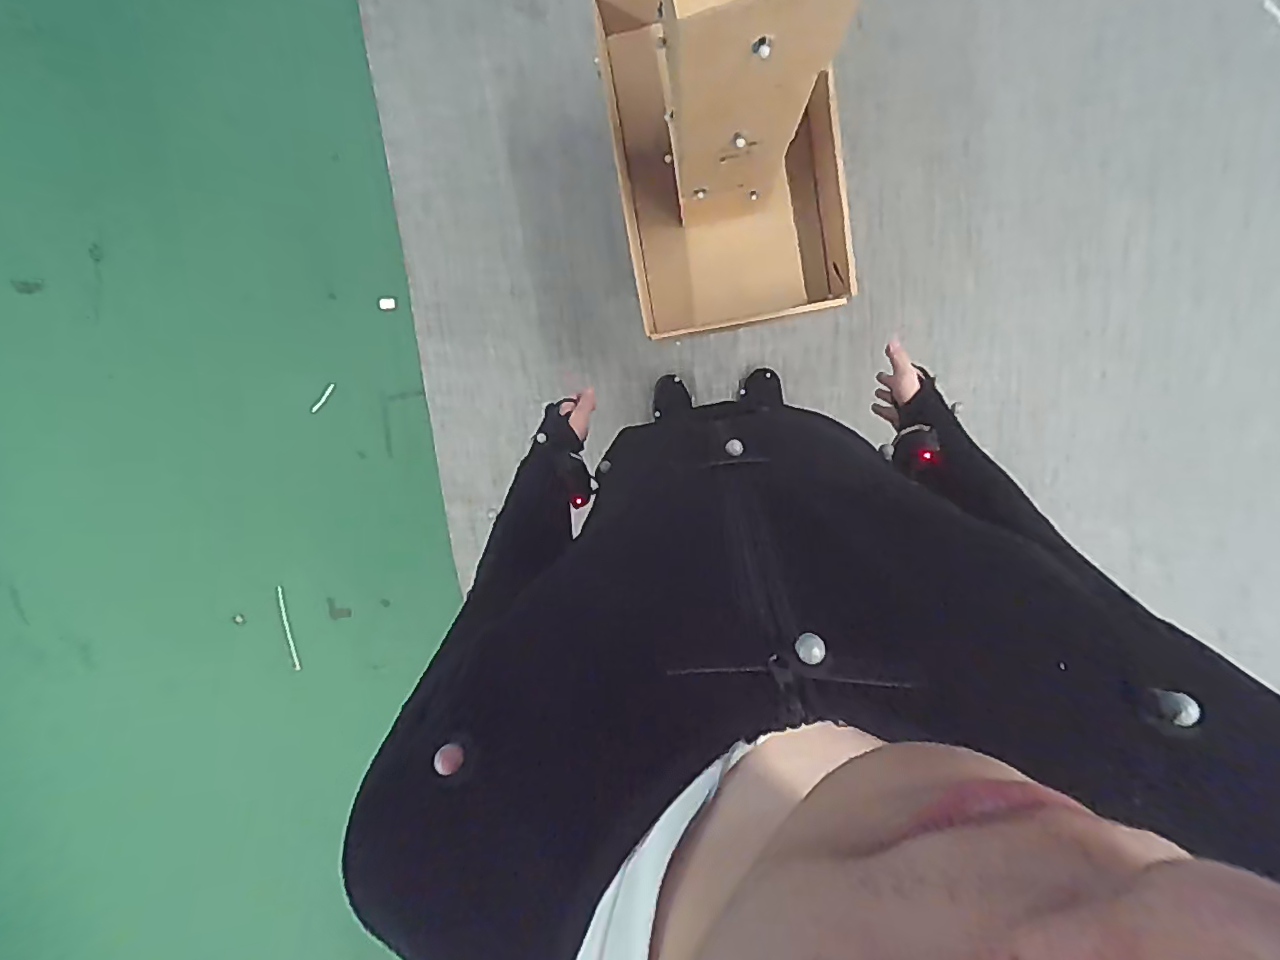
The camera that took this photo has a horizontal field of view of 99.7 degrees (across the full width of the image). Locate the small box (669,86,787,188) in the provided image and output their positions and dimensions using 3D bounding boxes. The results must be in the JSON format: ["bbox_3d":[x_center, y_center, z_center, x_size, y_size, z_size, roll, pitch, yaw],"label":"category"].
[{"bbox_3d":[0.134,-0.585,0.856,0.168,0.176,0.179,-6,98,6],"label":"small box"}]

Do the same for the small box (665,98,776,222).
[{"bbox_3d":[0.148,-0.607,1.017,0.179,0.176,0.168,-8,98,7],"label":"small box"}]

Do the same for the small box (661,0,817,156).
[{"bbox_3d":[0.118,-0.555,0.694,0.168,0.176,0.179,-8,99,7],"label":"small box"}]
